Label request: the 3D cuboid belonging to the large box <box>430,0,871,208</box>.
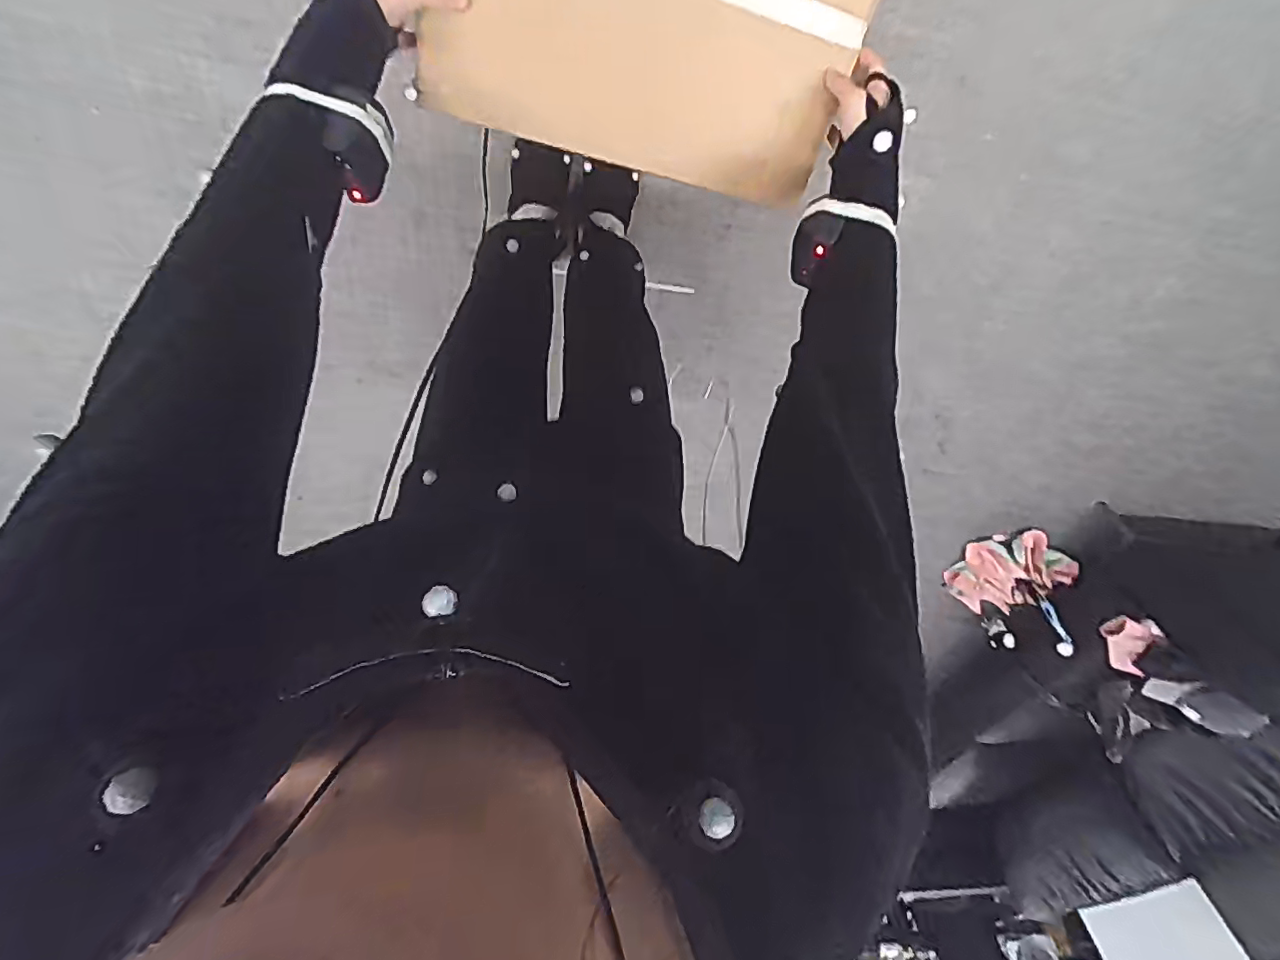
[{"bbox_3d":[0.008,-0.549,0.610,0.408,0.320,0.320,9,125,-13],"label":"large box"}]
